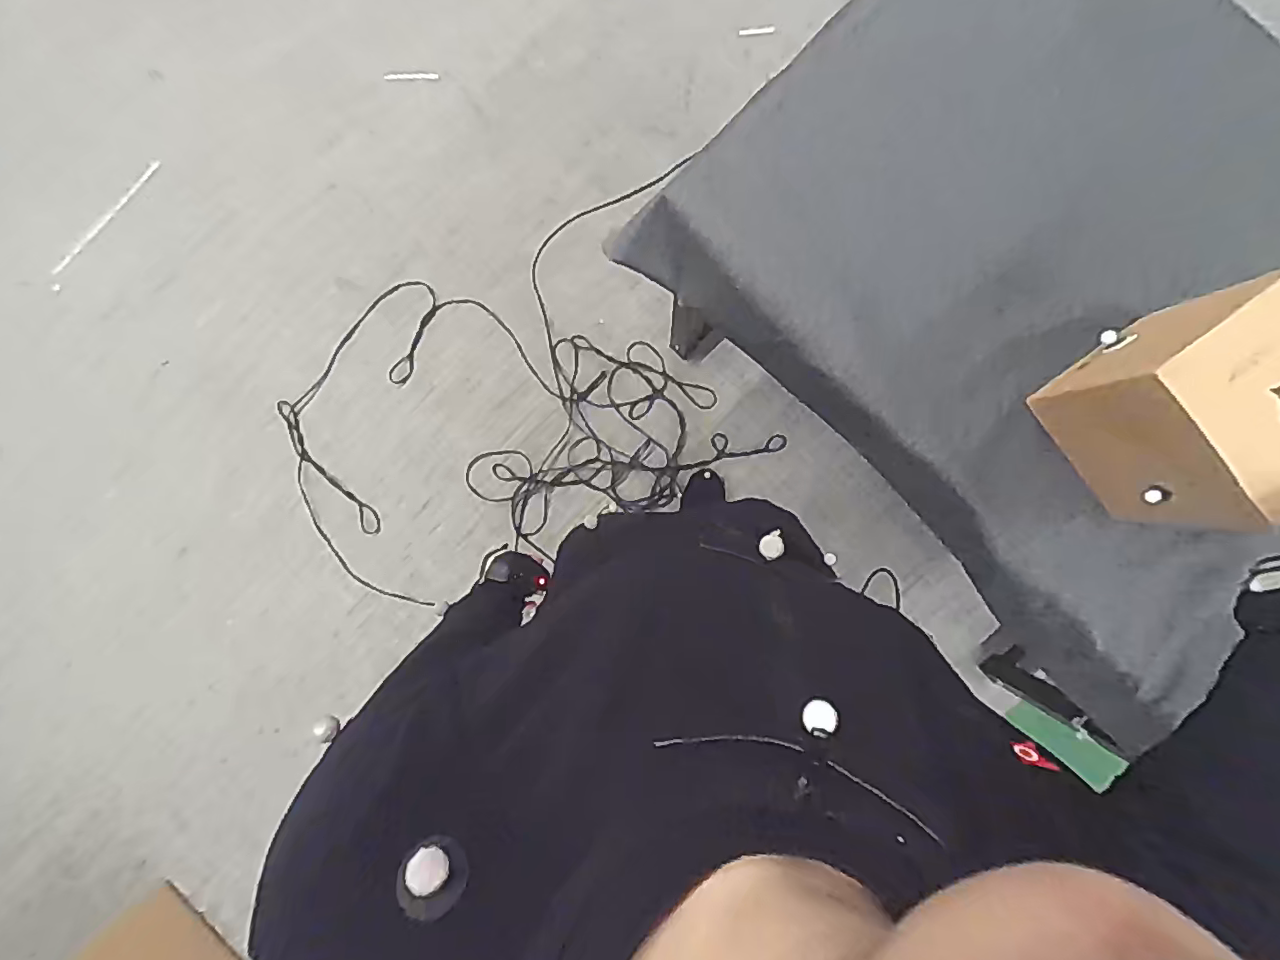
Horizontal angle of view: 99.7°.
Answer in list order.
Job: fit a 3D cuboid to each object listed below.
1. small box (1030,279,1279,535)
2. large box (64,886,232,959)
[{"bbox_3d":[0.560,-0.067,0.546,0.168,0.176,0.179,-37,88,0],"label":"small box"},{"bbox_3d":[-1.224,1.302,1.266,0.320,0.320,0.408,-45,87,1],"label":"large box"}]
